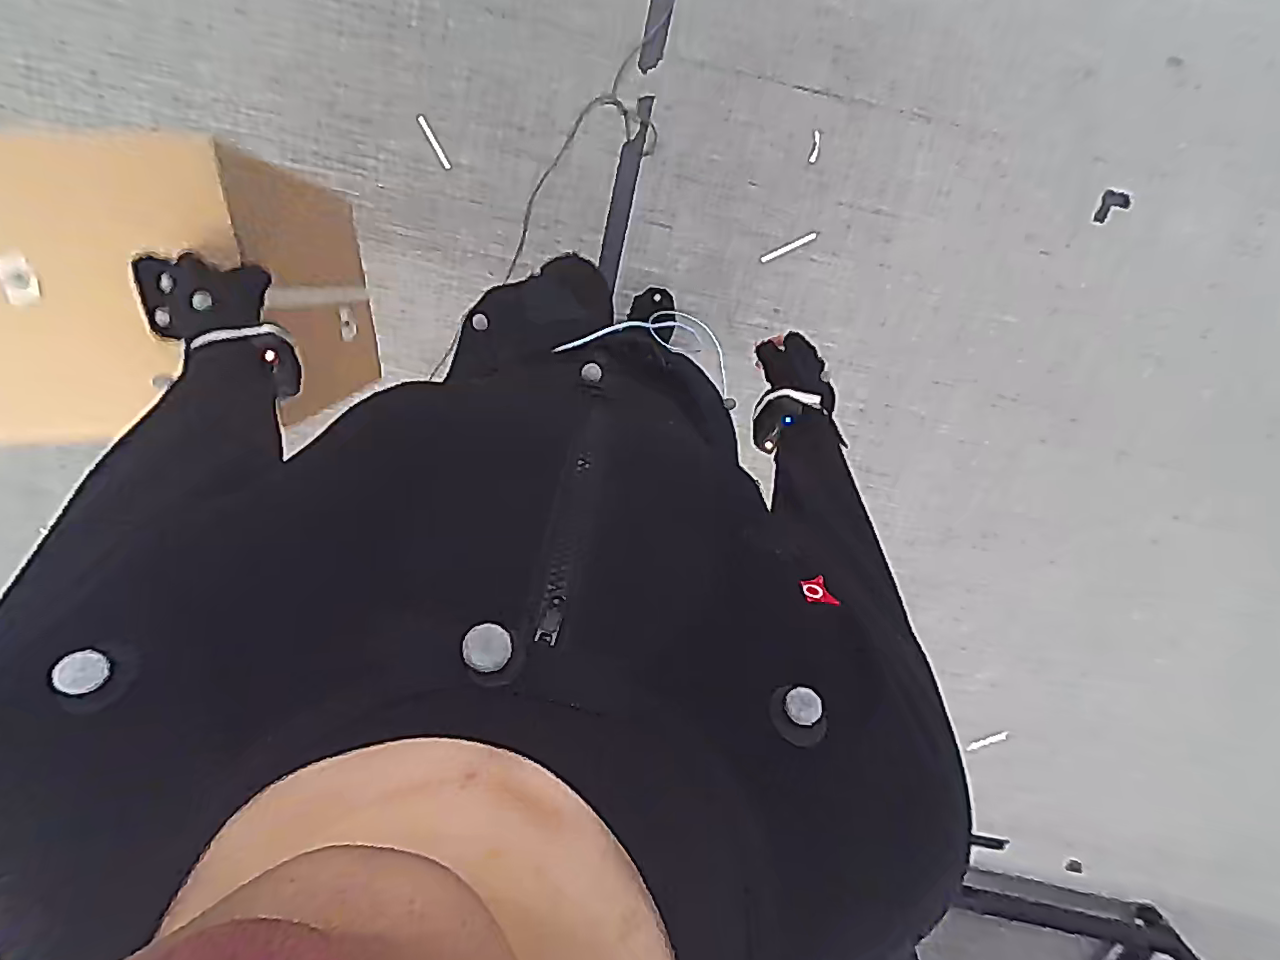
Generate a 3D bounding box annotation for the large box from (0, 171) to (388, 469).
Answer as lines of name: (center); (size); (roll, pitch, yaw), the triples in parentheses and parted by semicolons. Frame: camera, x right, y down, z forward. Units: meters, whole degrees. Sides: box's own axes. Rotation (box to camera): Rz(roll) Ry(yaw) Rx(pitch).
large box: (-0.613, -0.233, 0.788); (0.320, 0.408, 0.320); (-6, 109, -8)
